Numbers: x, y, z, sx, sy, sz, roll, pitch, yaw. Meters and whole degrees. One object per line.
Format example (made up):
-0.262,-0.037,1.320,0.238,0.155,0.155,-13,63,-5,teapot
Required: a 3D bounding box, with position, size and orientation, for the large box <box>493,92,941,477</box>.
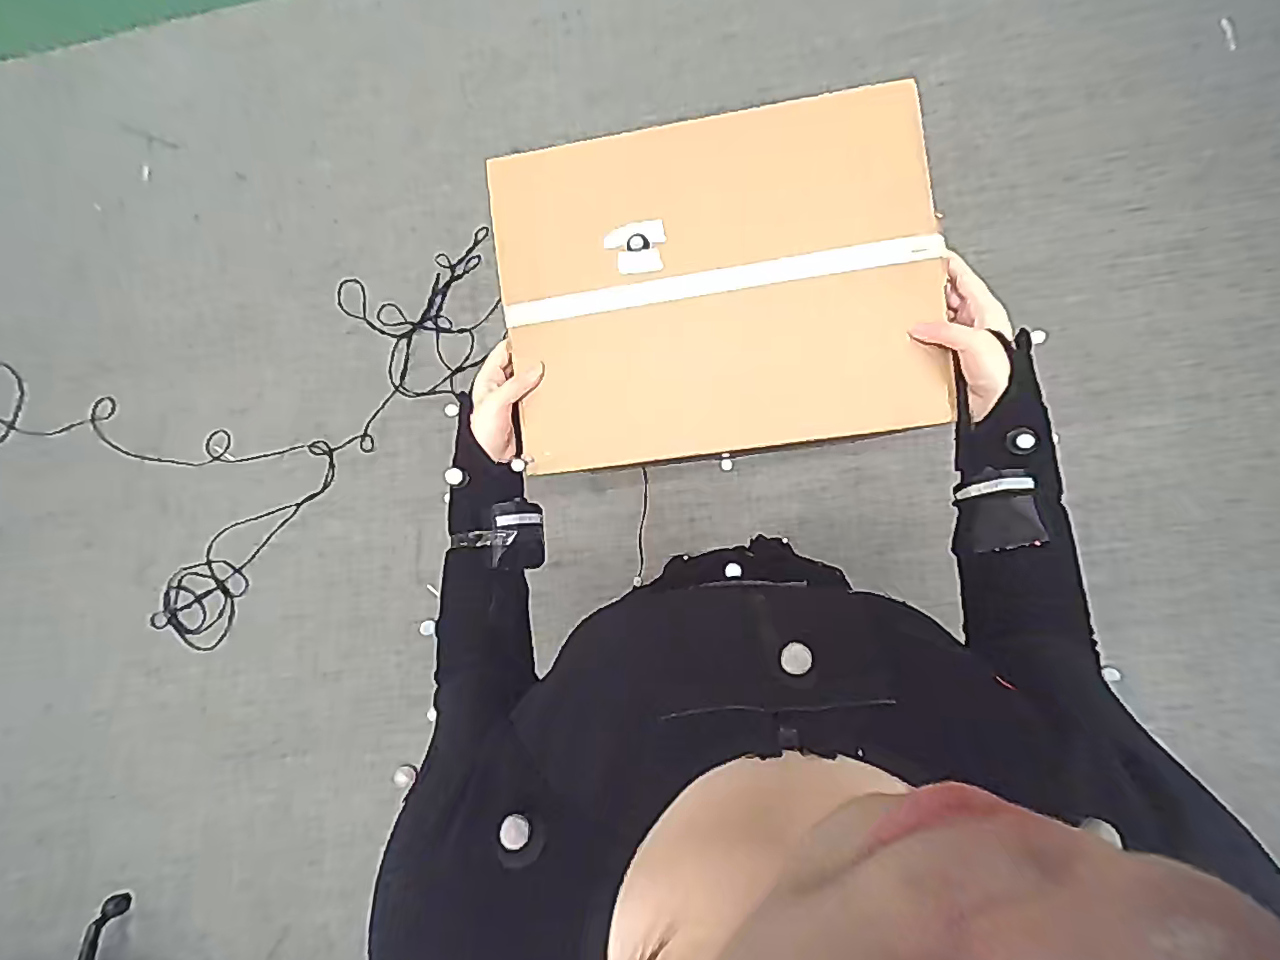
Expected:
0.085,-0.186,0.670,0.408,0.320,0.320,-7,90,8,large box
